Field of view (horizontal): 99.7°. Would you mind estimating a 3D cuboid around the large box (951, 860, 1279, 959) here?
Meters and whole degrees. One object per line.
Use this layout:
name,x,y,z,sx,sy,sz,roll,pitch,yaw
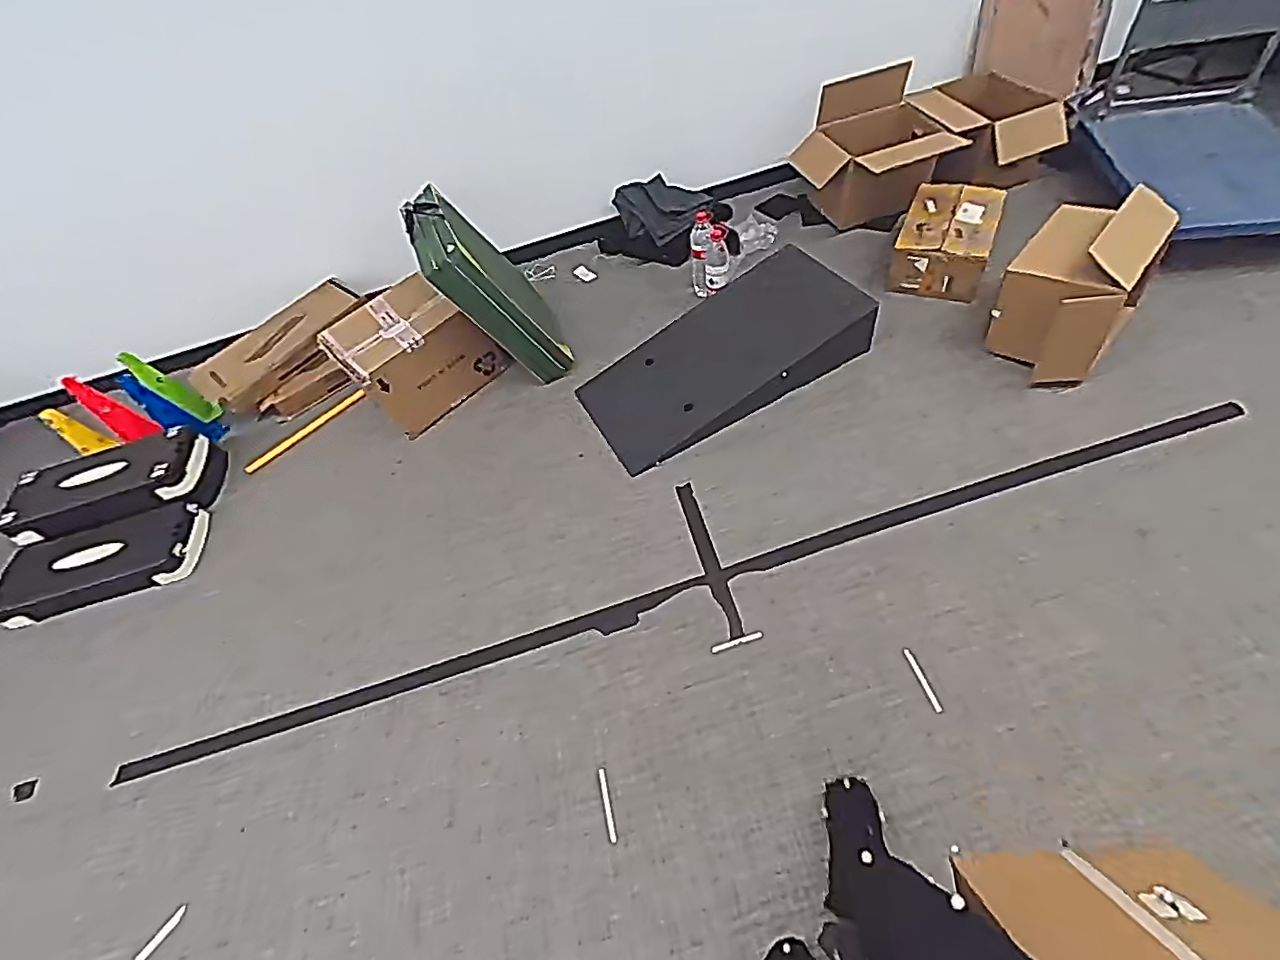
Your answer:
large box,0.605,0.681,0.573,0.320,0.408,0.320,-6,79,7
